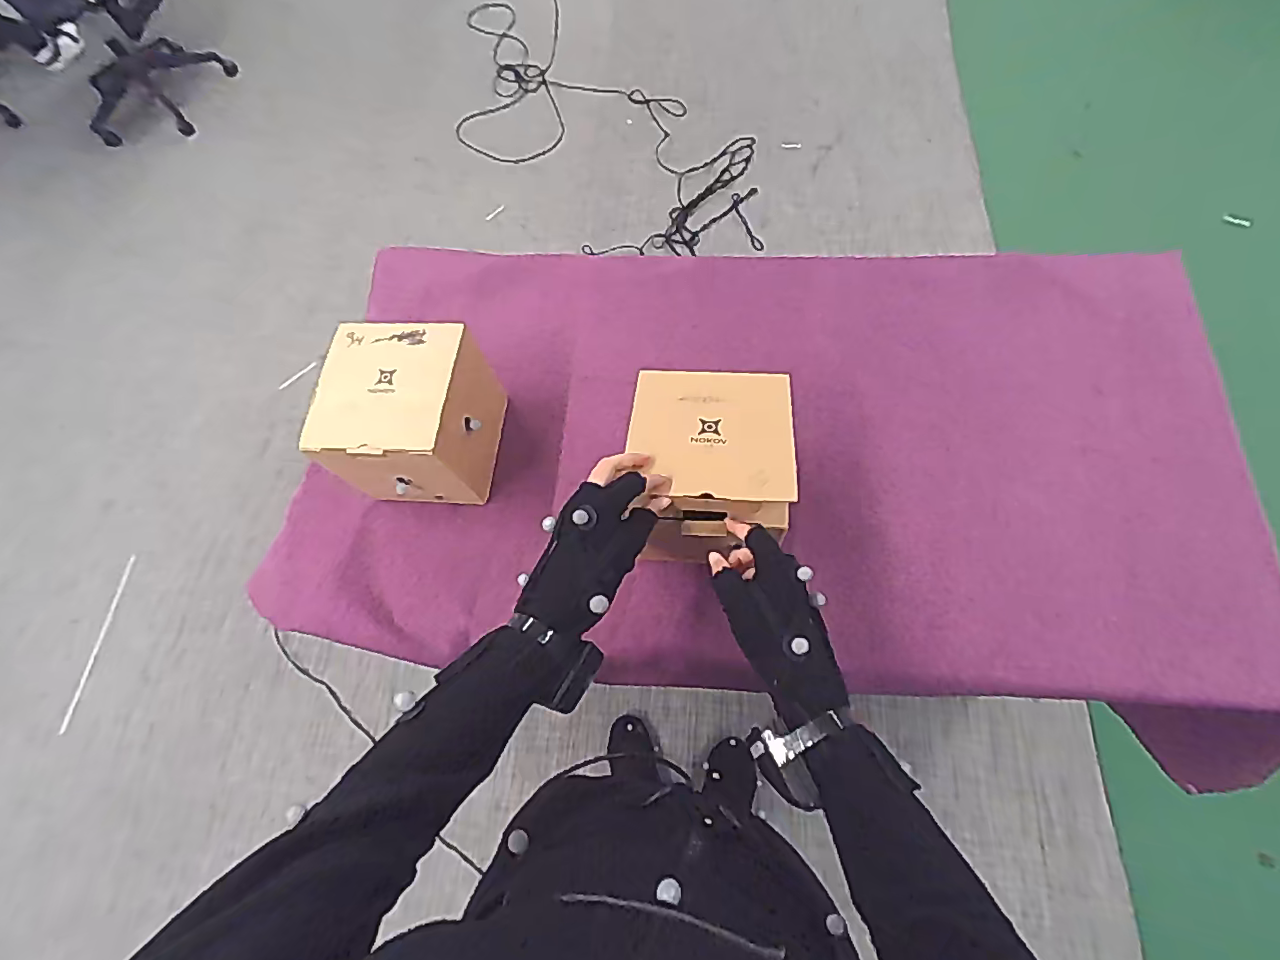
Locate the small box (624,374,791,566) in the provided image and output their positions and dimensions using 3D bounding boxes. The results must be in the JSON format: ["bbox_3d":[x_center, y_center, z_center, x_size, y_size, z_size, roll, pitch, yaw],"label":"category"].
[{"bbox_3d":[0.082,-0.004,0.636,0.168,0.176,0.179,4,67,7],"label":"small box"}]

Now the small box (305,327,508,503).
[{"bbox_3d":[-0.286,-0.077,0.707,0.168,0.176,0.179,2,68,7],"label":"small box"}]
